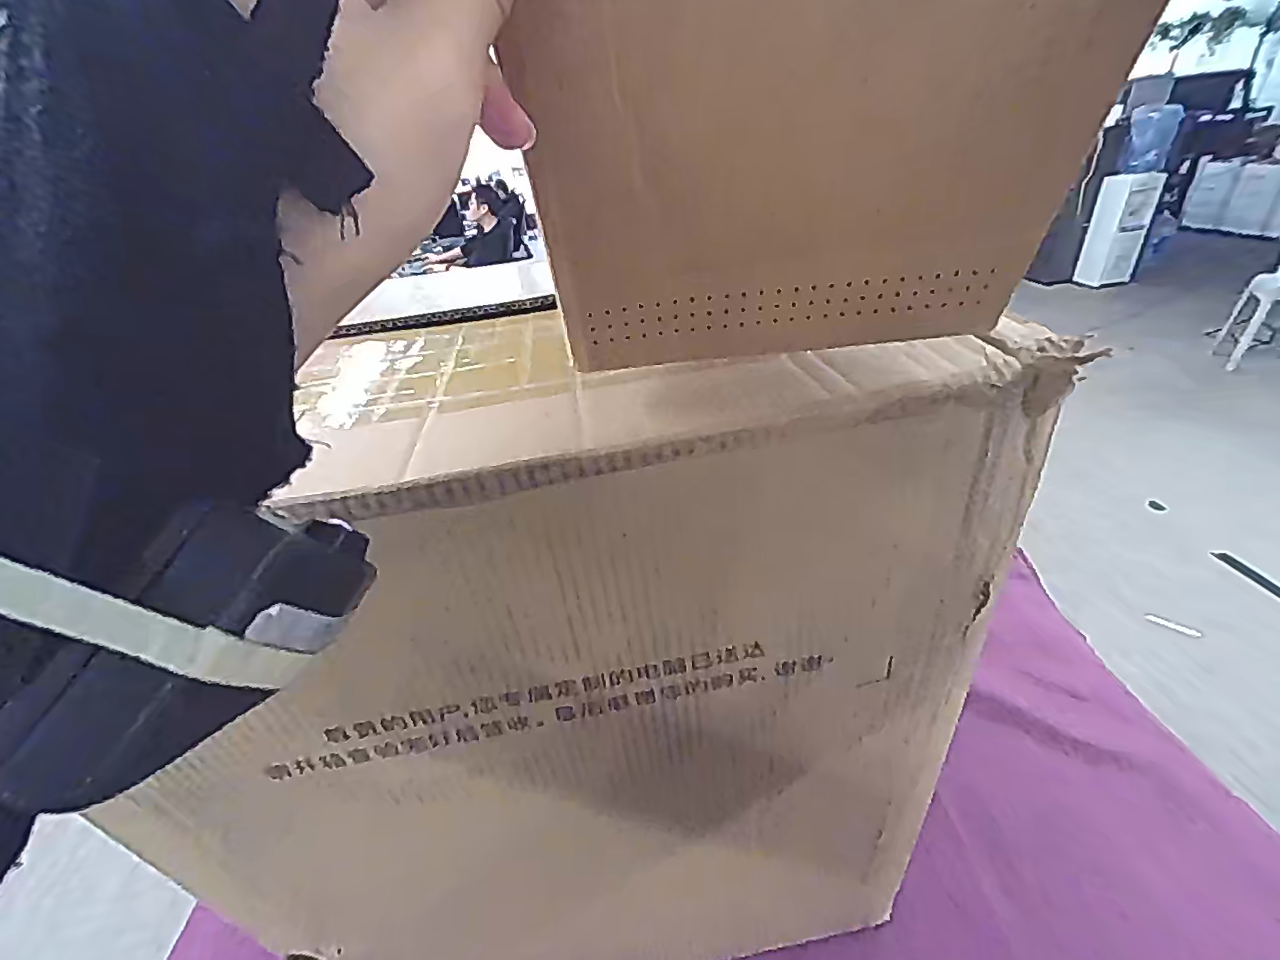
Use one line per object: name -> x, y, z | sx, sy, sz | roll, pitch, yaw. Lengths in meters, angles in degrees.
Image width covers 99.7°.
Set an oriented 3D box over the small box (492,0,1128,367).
small box -> 0.046, -0.160, 0.207 | 0.179, 0.176, 0.168 | -5, 54, 2
